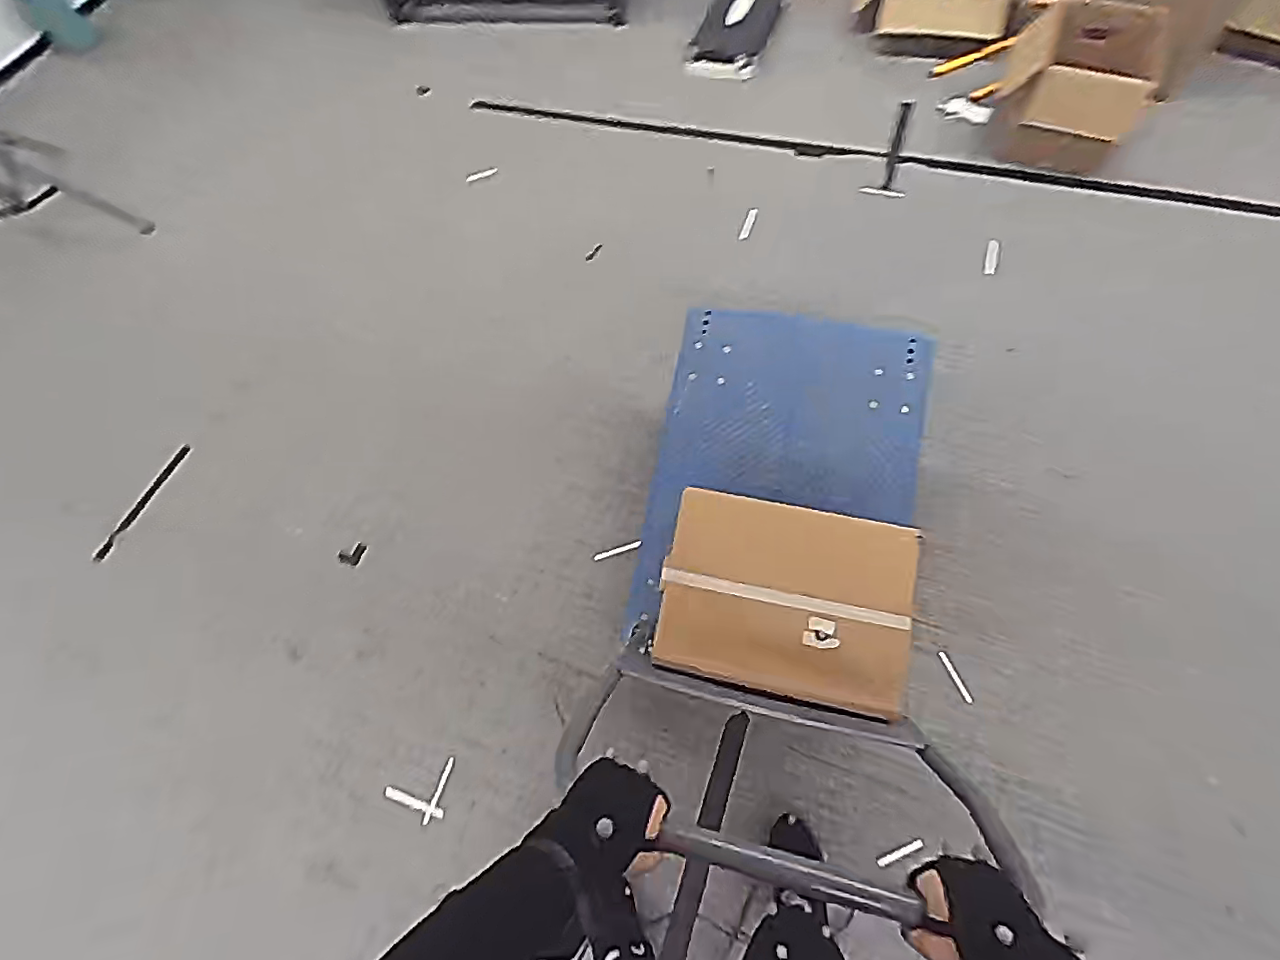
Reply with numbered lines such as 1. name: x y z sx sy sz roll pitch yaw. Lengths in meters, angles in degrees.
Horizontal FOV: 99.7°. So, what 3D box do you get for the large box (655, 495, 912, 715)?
1. large box: 0.260 0.230 1.073 0.408 0.320 0.320 10 83 8
